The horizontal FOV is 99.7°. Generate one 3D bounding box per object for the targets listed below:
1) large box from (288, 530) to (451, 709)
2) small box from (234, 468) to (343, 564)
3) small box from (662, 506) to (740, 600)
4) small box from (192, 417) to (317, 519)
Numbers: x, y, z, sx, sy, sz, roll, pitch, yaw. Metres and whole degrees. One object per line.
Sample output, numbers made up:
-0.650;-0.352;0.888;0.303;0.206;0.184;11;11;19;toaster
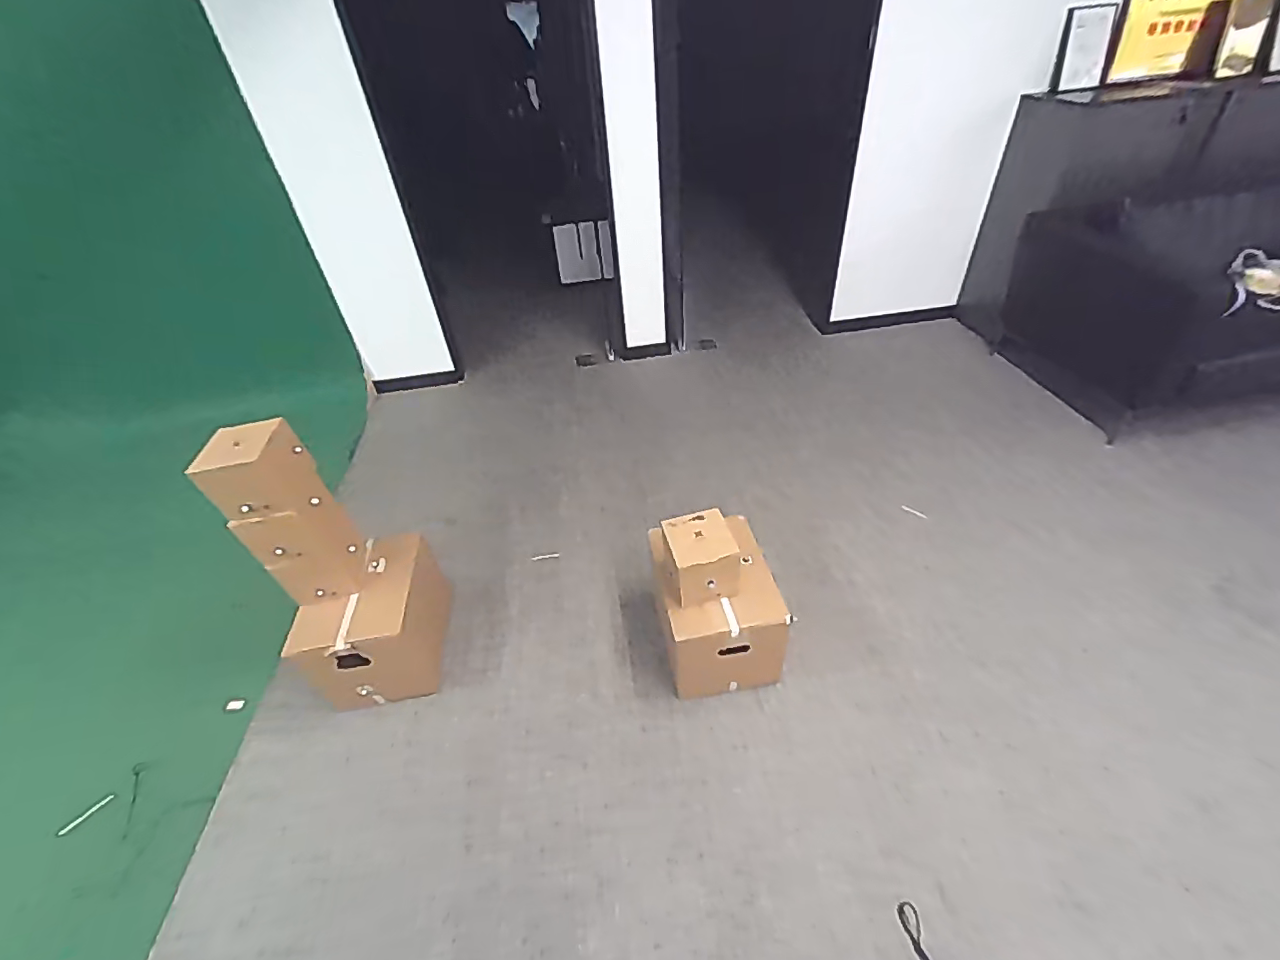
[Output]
-0.804;0.426;1.682;0.320;0.320;0.408;-10;40;-4;large box
-0.930;0.097;1.453;0.168;0.176;0.179;-12;42;-2;small box
0.164;0.203;1.458;0.168;0.176;0.179;-13;42;-5;small box
-0.947;-0.029;1.352;0.168;0.176;0.179;-11;42;0;small box
